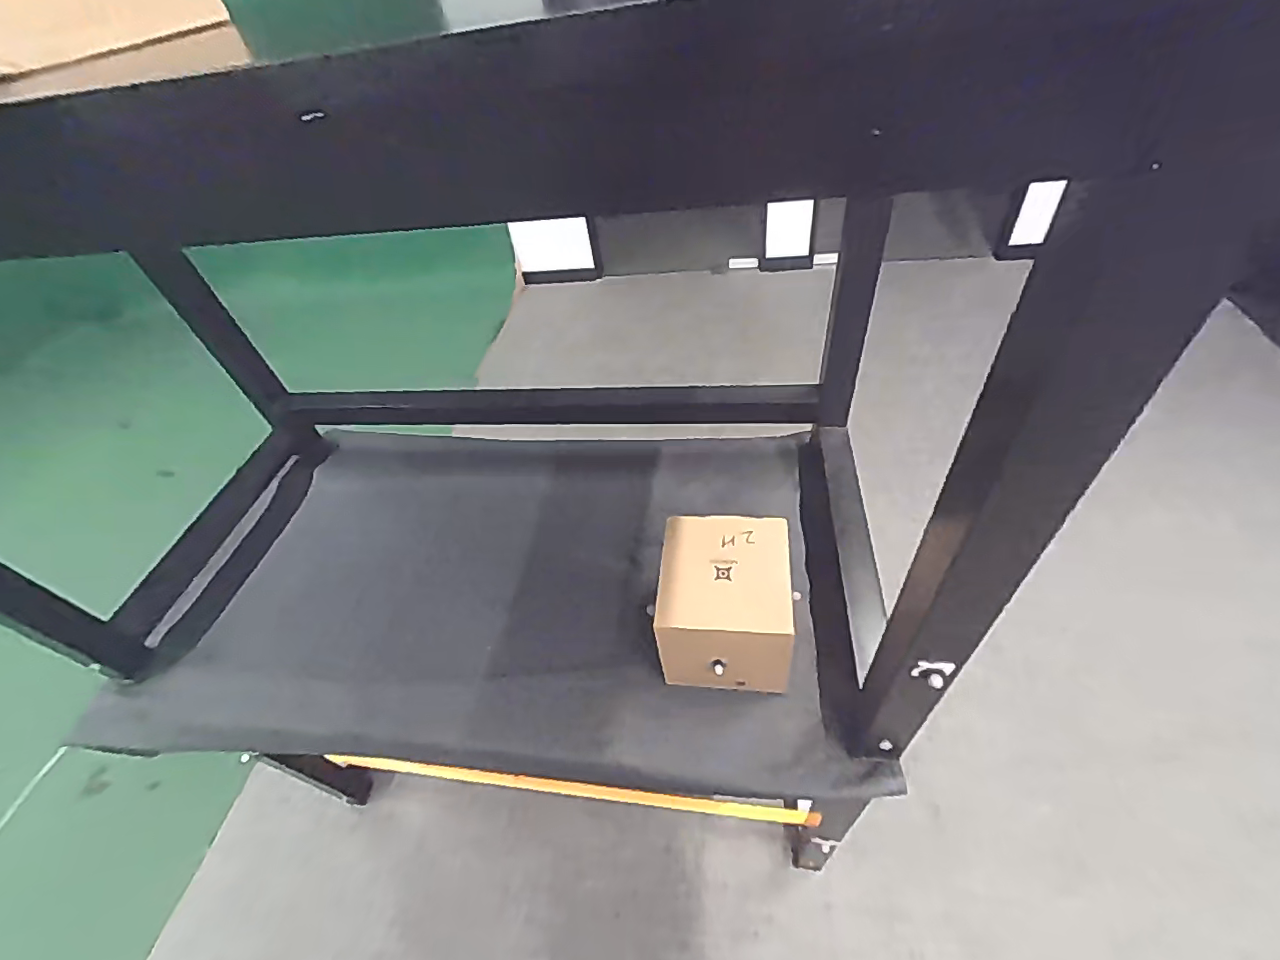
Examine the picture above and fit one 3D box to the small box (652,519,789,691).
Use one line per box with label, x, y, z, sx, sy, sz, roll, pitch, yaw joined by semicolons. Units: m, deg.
small box;0.117;0.174;0.752;0.168;0.176;0.179;1;46;10
